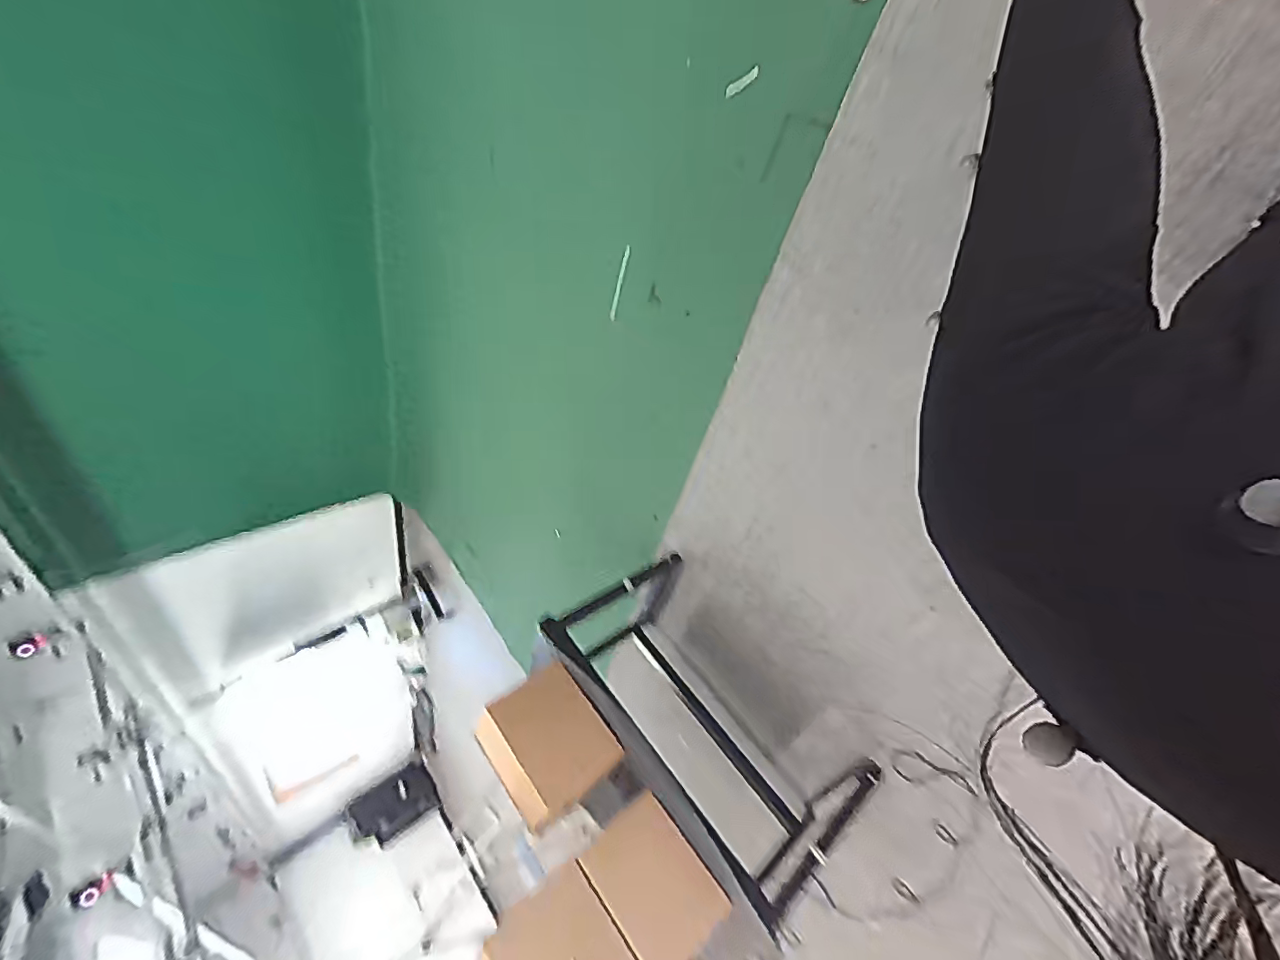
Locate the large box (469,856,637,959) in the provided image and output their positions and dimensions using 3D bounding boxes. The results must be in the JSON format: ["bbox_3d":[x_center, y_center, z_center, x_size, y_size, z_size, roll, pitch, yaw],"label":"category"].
[{"bbox_3d":[-0.231,1.377,1.507,0.408,0.320,0.320,44,136,26],"label":"large box"}]
